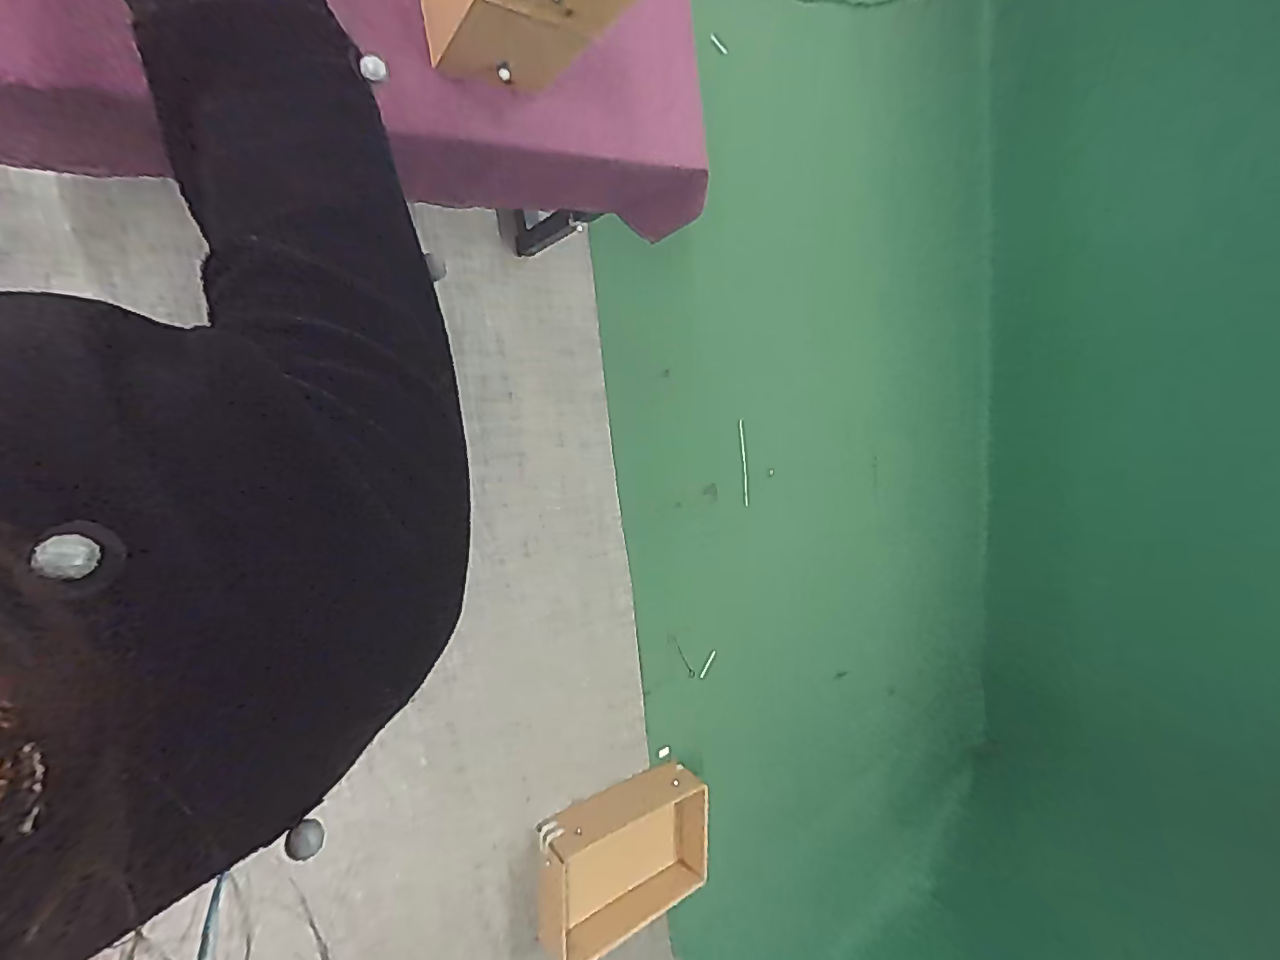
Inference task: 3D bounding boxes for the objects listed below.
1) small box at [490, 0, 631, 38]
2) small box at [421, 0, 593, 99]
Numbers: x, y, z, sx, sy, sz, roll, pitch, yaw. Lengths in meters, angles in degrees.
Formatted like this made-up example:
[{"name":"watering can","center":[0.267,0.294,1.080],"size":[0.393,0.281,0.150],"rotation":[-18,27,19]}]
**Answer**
[{"name":"small box","center":[-0.083,-0.640,0.584],"size":[0.168,0.176,0.179],"rotation":[-14,103,-37]},{"name":"small box","center":[-0.184,-0.650,0.711],"size":[0.168,0.176,0.179],"rotation":[-14,103,-36]}]
